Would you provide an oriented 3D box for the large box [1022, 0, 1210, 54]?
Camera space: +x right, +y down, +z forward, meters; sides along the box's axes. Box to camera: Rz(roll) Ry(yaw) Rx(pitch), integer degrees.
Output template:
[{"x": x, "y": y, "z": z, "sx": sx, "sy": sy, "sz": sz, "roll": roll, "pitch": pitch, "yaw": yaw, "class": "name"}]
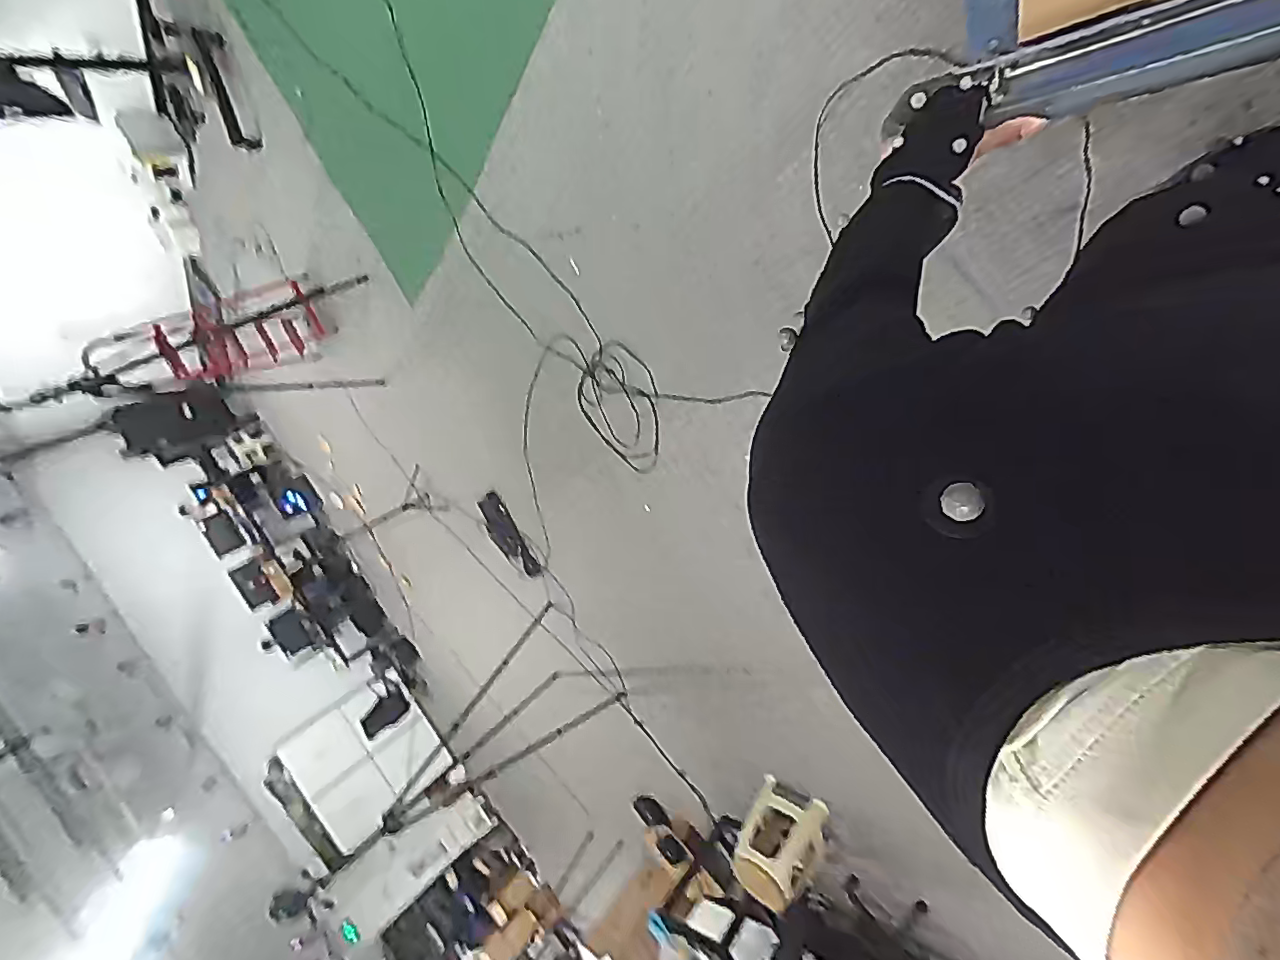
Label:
[{"x": 0.725, "y": -0.865, "z": 0.711, "sx": 0.320, "sy": 0.320, "sz": 0.408, "roll": 8, "pitch": 123, "yaw": 42, "class": "large box"}]
